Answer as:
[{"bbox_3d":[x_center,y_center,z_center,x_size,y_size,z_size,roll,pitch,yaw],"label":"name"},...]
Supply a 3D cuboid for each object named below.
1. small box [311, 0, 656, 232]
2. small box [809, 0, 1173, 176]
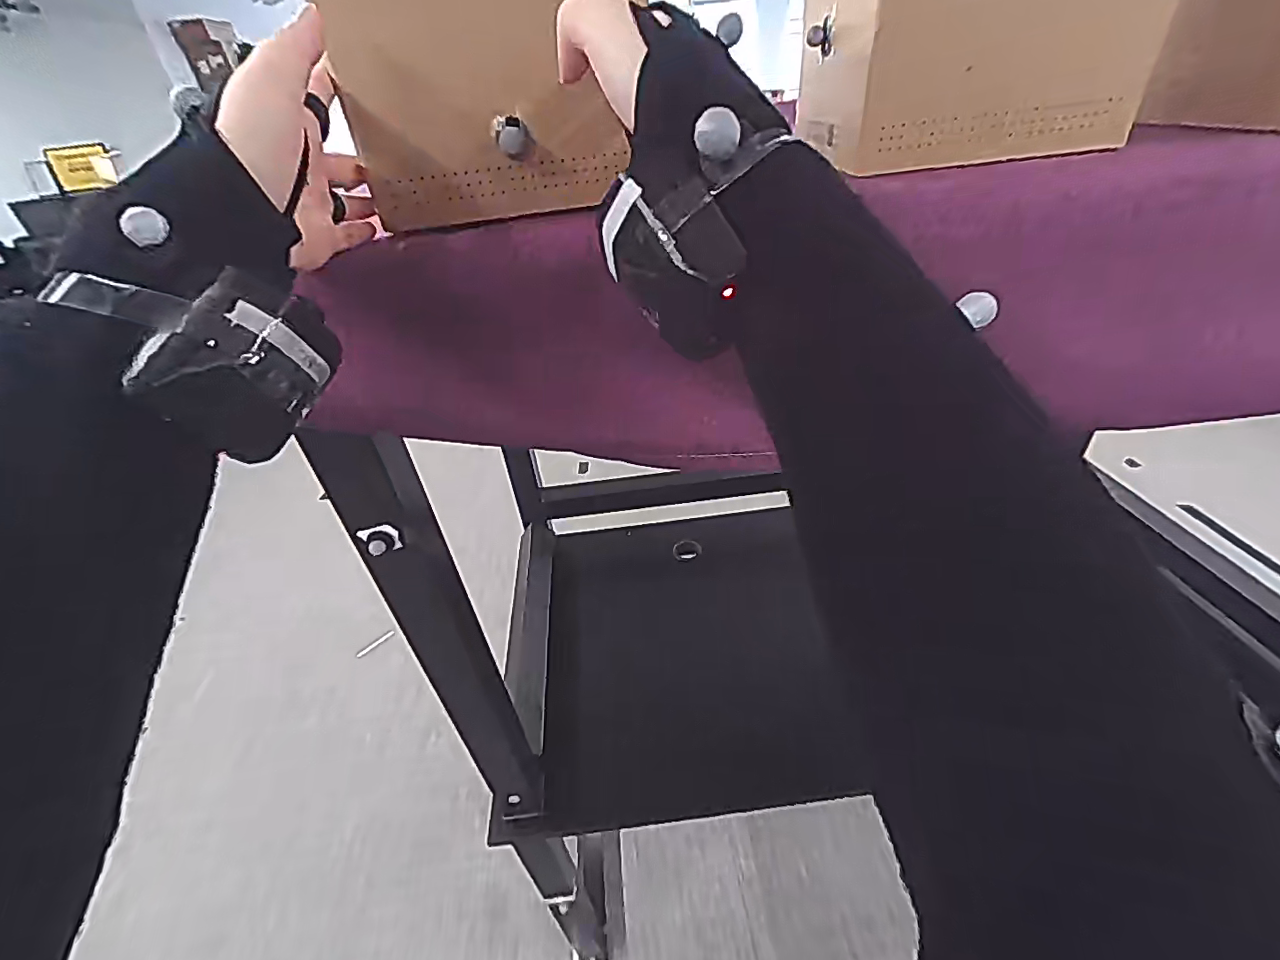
[{"bbox_3d":[-0.089,-0.270,0.348,0.179,0.176,0.168,-11,34,-7],"label":"small box"},{"bbox_3d":[0.221,-0.315,0.367,0.179,0.176,0.168,-5,36,2],"label":"small box"}]
